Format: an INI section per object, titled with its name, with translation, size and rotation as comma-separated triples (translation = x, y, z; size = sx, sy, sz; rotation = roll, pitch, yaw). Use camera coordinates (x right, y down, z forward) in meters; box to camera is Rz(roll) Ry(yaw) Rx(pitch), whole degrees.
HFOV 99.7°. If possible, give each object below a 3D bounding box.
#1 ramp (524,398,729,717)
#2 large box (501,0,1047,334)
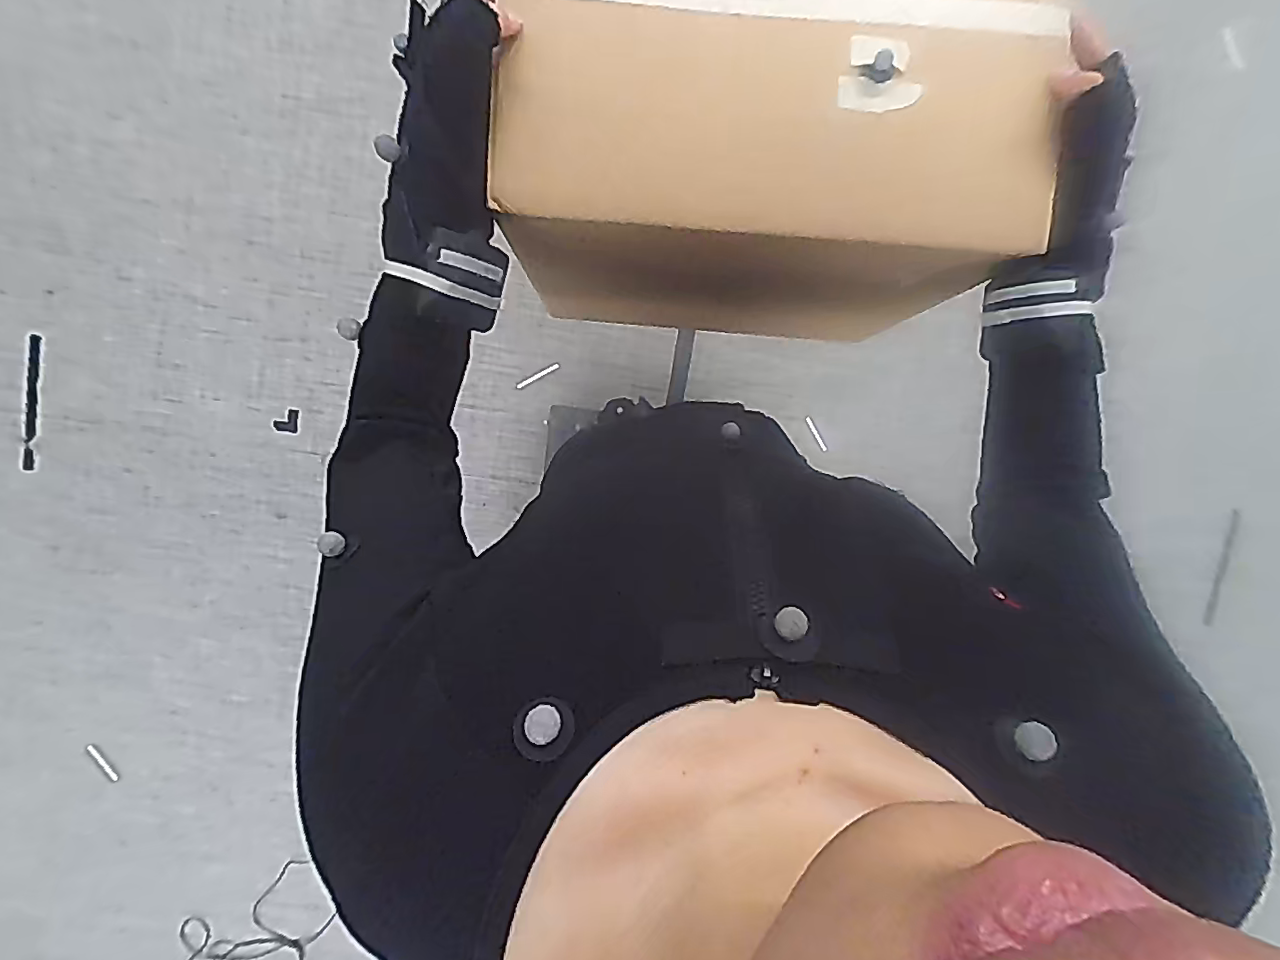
[ramp]
translation = -0.064, 0.278, 1.610
size = 0.509, 0.206, 0.991
rotation = 6, 98, -3
[large box]
translation = 0.096, -0.345, 0.547
size = 0.408, 0.320, 0.320
rotation = 4, 93, -2
